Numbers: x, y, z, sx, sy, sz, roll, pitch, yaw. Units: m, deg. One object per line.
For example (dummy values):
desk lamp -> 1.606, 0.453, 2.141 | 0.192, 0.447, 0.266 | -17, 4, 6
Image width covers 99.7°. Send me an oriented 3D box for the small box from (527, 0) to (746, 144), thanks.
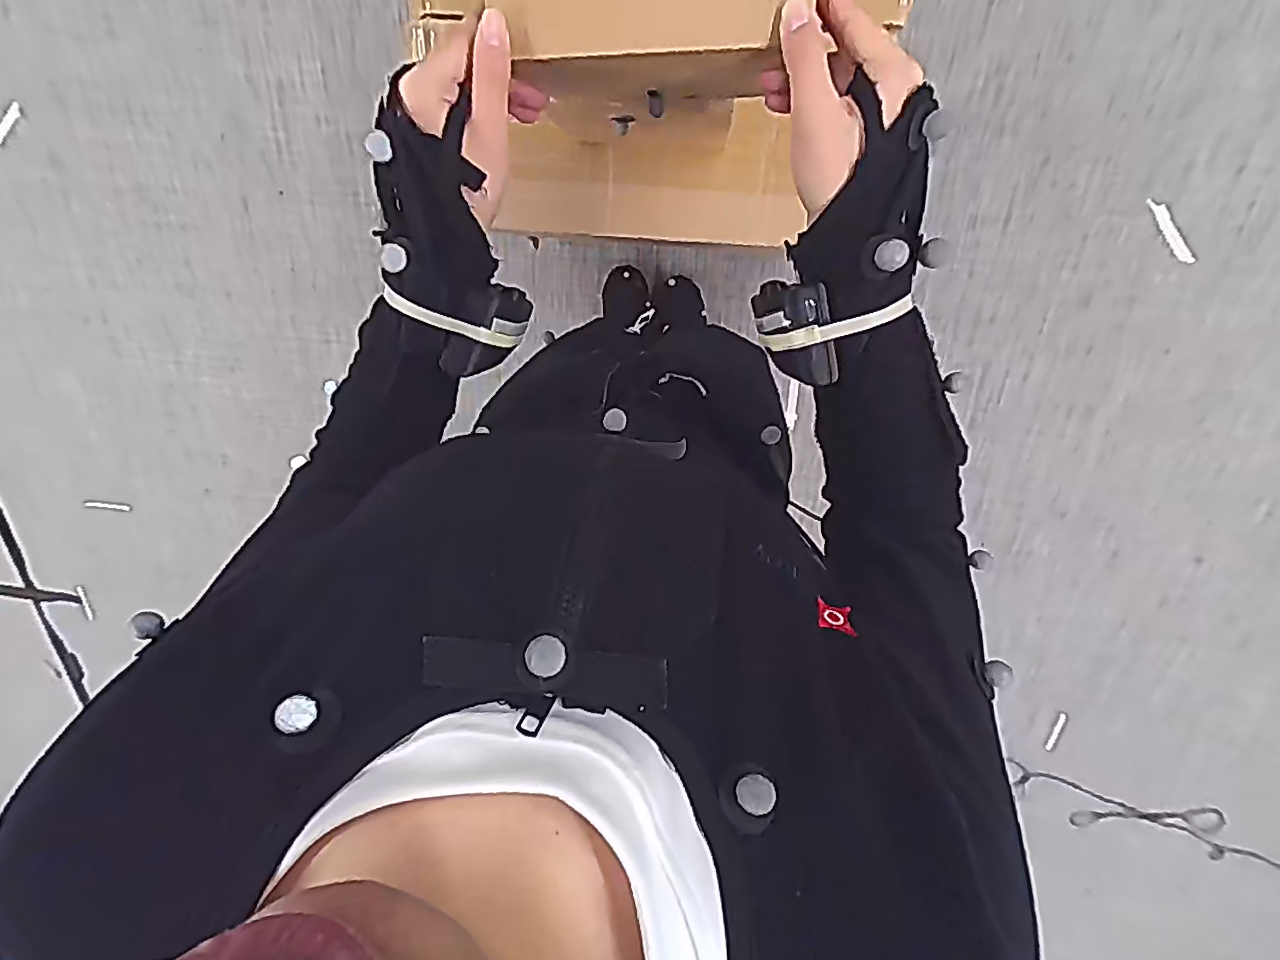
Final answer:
small box -> 0.006, -0.420, 0.494 | 0.179, 0.176, 0.168 | 6, 113, 4
